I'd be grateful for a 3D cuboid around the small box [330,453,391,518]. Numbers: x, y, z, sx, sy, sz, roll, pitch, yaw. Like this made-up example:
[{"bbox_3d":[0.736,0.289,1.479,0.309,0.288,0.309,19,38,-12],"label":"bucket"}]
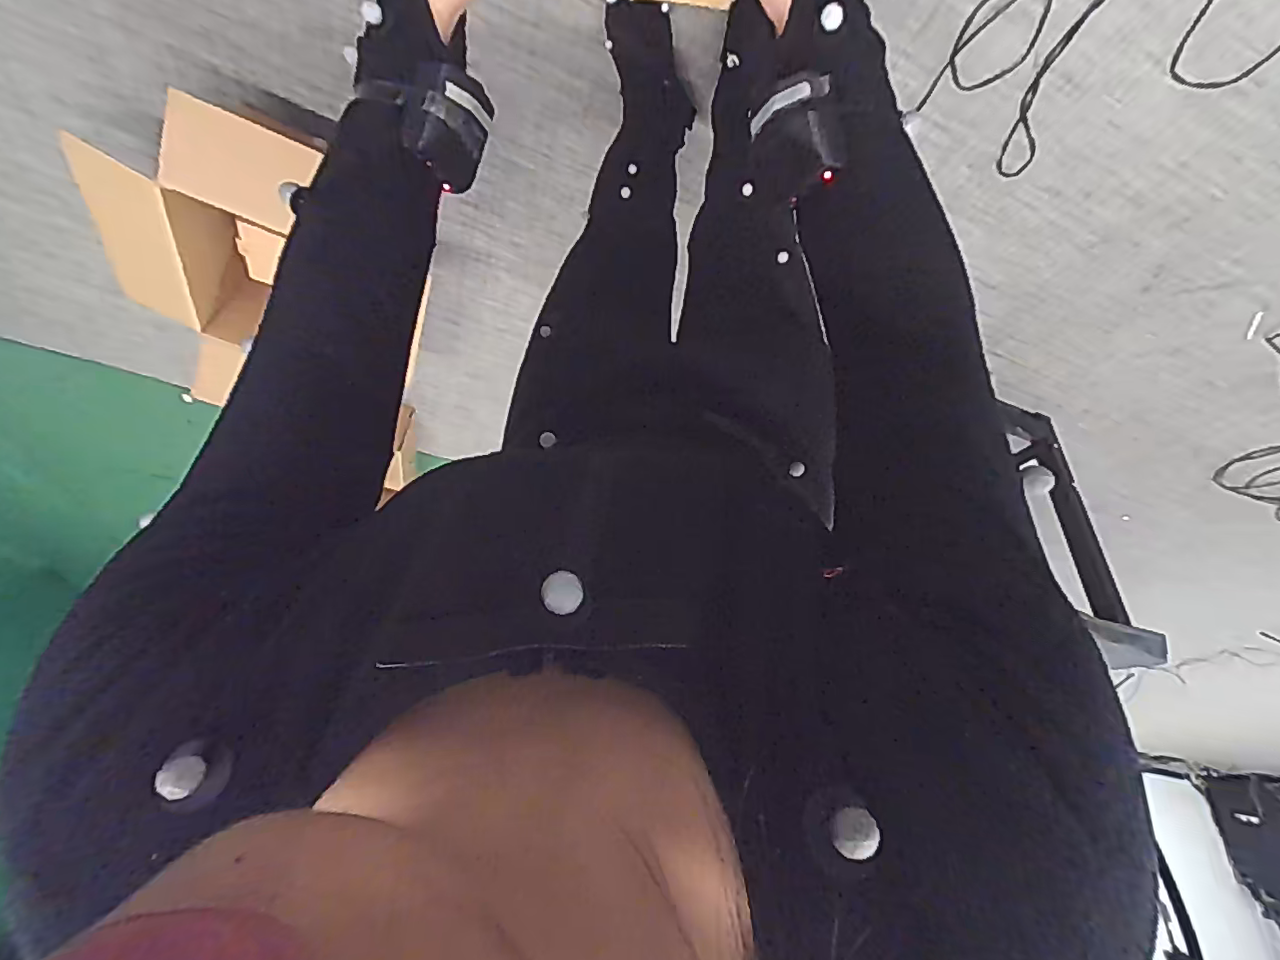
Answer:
[{"bbox_3d":[-1.104,0.022,2.147,0.168,0.176,0.179,17,146,-14],"label":"small box"}]
